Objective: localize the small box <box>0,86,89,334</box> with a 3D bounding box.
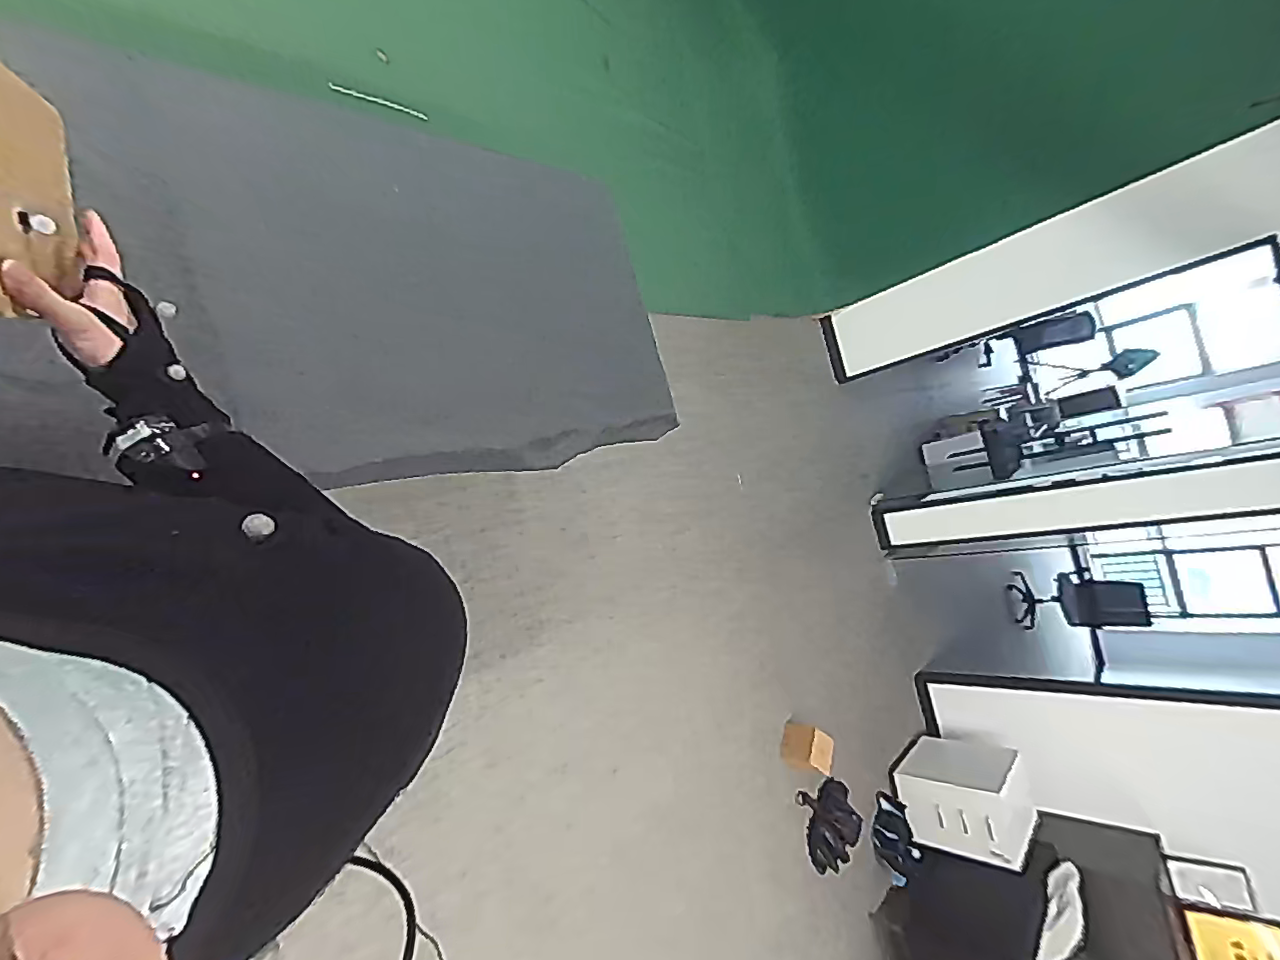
[{"bbox_3d":[-0.528,-0.201,0.375,0.168,0.176,0.179,-4,106,-31],"label":"small box"}]
